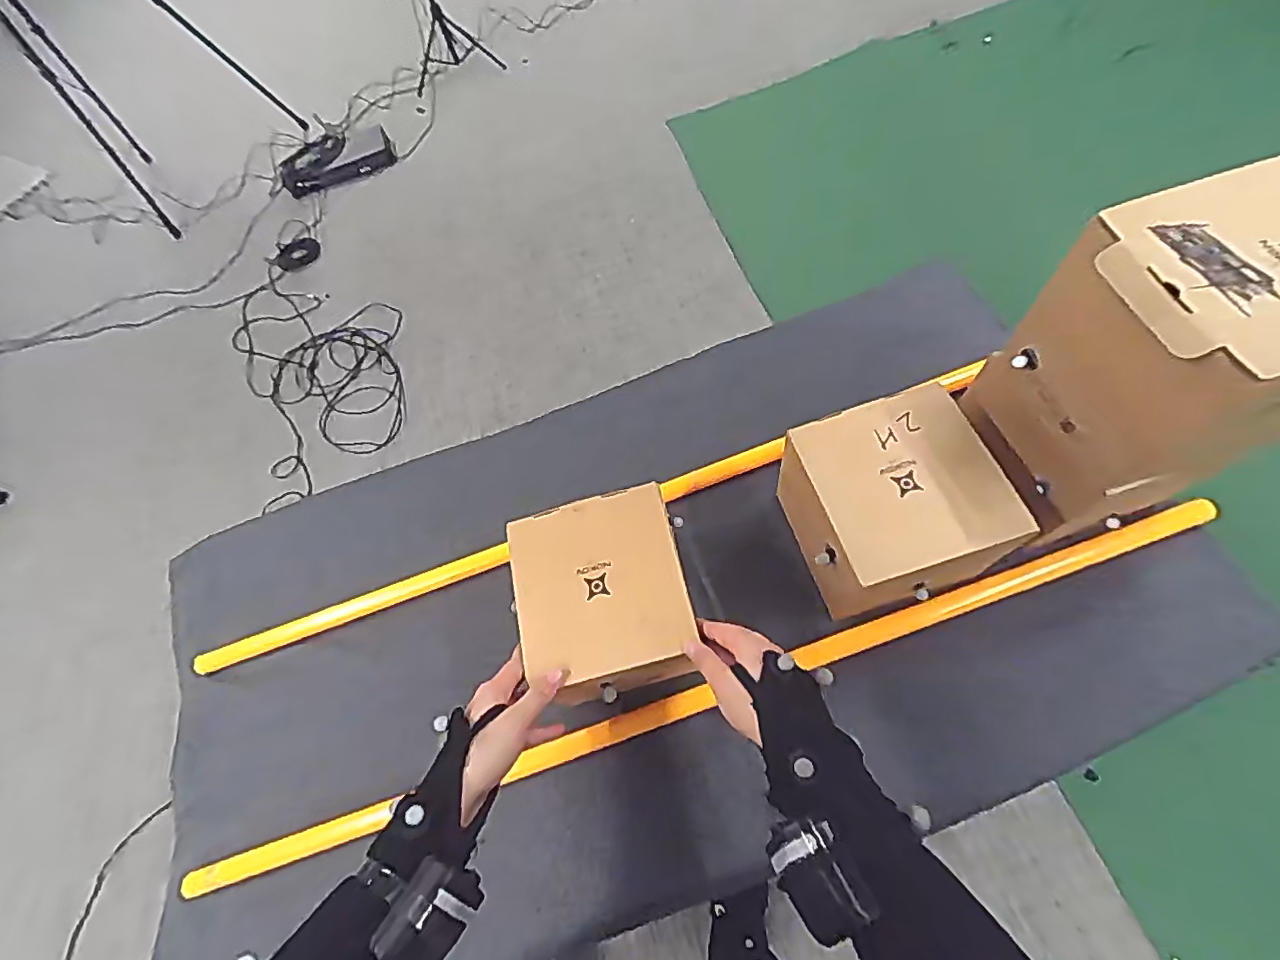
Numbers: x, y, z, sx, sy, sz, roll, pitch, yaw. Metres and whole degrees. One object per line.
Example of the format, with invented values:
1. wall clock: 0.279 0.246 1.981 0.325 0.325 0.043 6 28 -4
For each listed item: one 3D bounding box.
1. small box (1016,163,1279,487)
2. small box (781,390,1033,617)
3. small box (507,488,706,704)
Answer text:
1. small box: 0.449 -0.113 0.437 0.179 0.176 0.168 -16 64 2
2. small box: 0.262 0.039 0.583 0.168 0.176 0.179 -18 63 3
3. small box: -0.029 0.137 0.591 0.168 0.176 0.179 -16 63 2
